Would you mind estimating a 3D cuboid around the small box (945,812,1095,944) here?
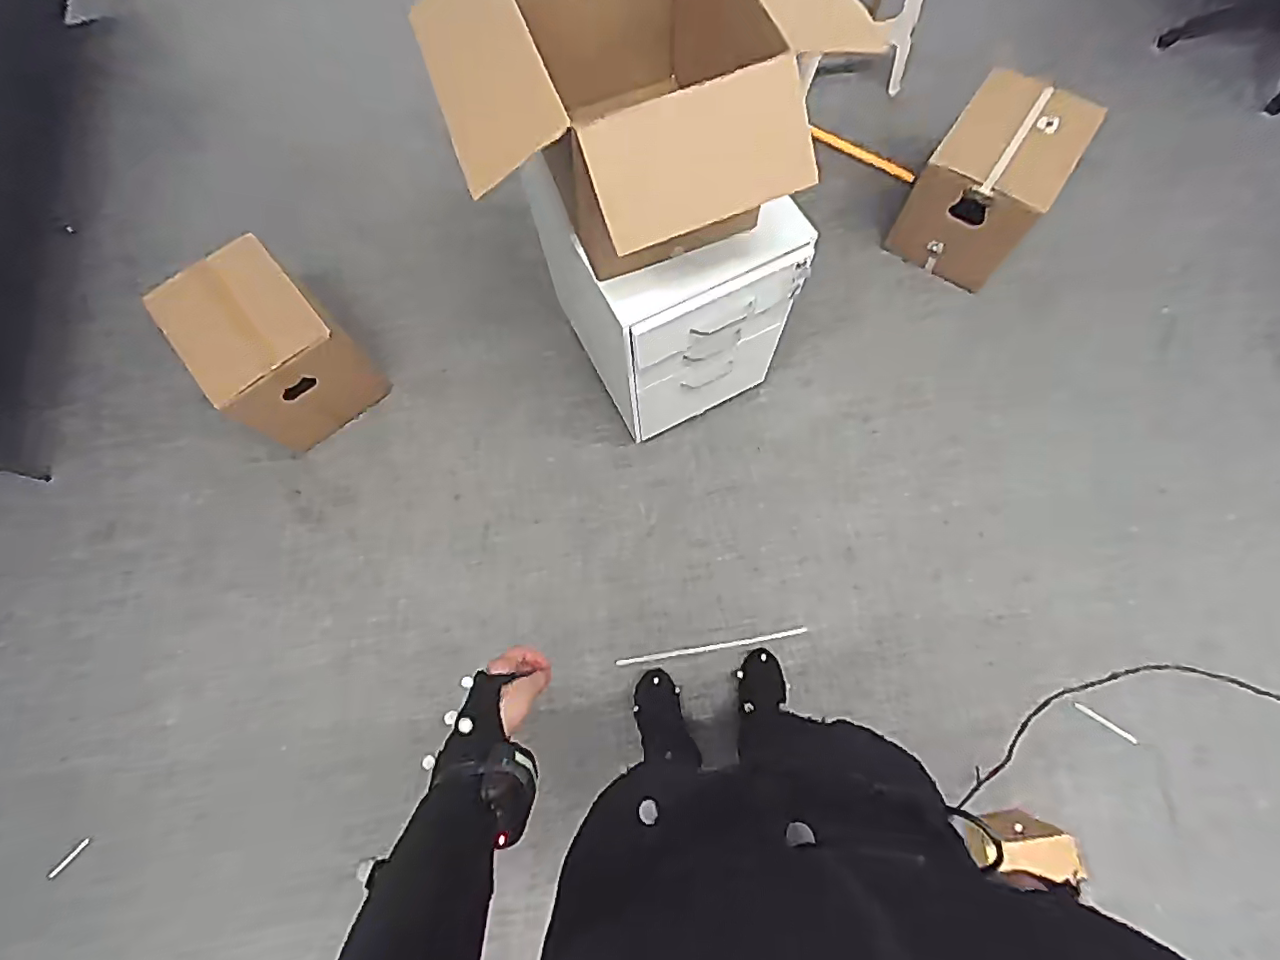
[{"bbox_3d":[0.753,0.799,1.101,0.179,0.176,0.168,-7,72,-1],"label":"small box"}]
